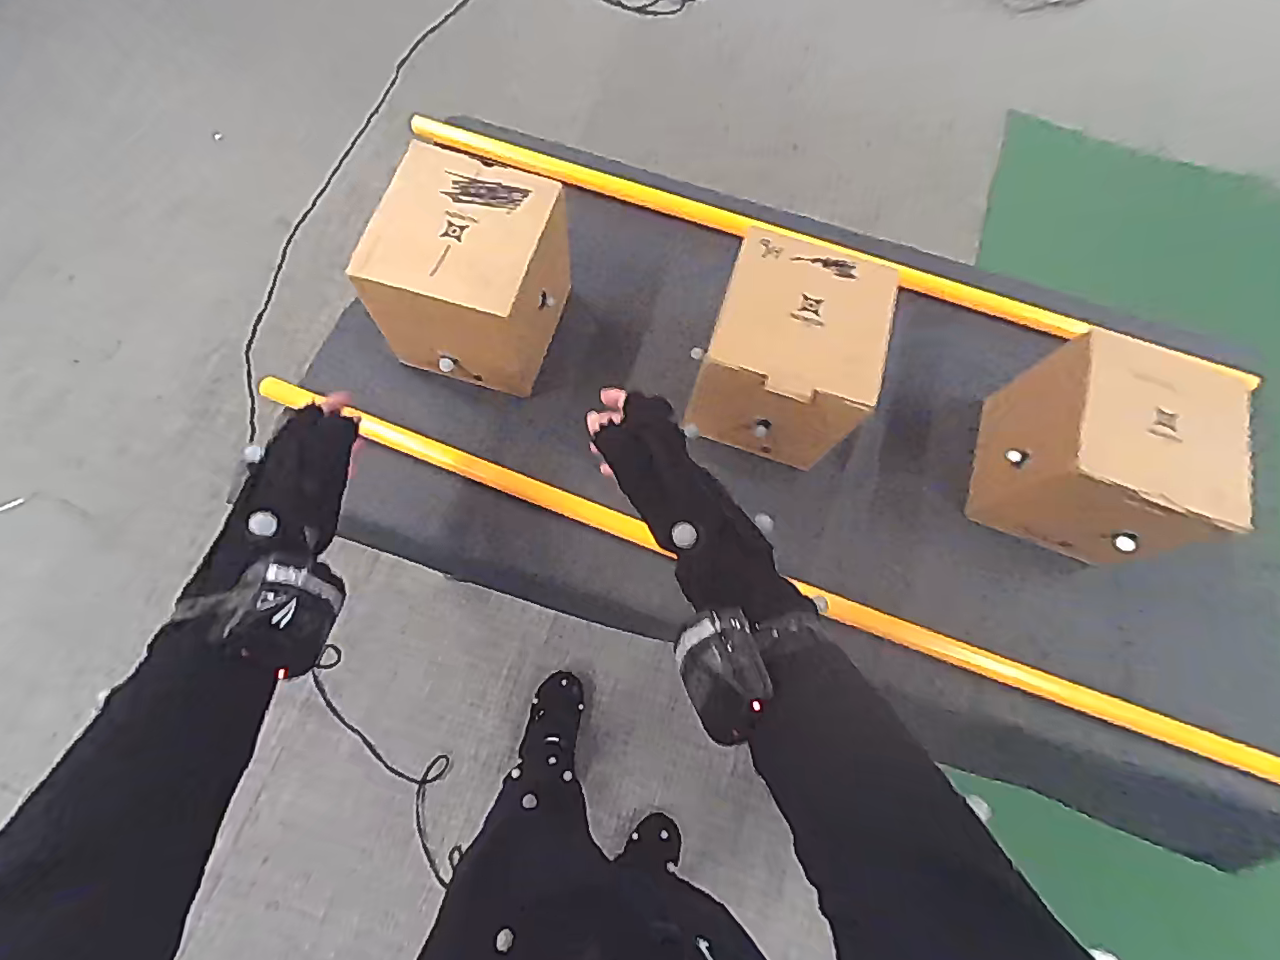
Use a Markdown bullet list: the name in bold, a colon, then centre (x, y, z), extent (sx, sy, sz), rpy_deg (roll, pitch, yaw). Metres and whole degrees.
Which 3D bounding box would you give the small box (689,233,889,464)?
- **small box**: centre (0.158, -0.138, 0.617), extent (0.168, 0.176, 0.179), rpy_deg (15, 70, 3)

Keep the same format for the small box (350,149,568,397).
- **small box**: centre (-0.185, -0.224, 0.617), extent (0.168, 0.176, 0.179), rpy_deg (16, 71, 1)

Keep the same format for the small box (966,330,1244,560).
- **small box**: centre (0.500, -0.027, 0.603), extent (0.168, 0.176, 0.179), rpy_deg (21, 69, 2)
